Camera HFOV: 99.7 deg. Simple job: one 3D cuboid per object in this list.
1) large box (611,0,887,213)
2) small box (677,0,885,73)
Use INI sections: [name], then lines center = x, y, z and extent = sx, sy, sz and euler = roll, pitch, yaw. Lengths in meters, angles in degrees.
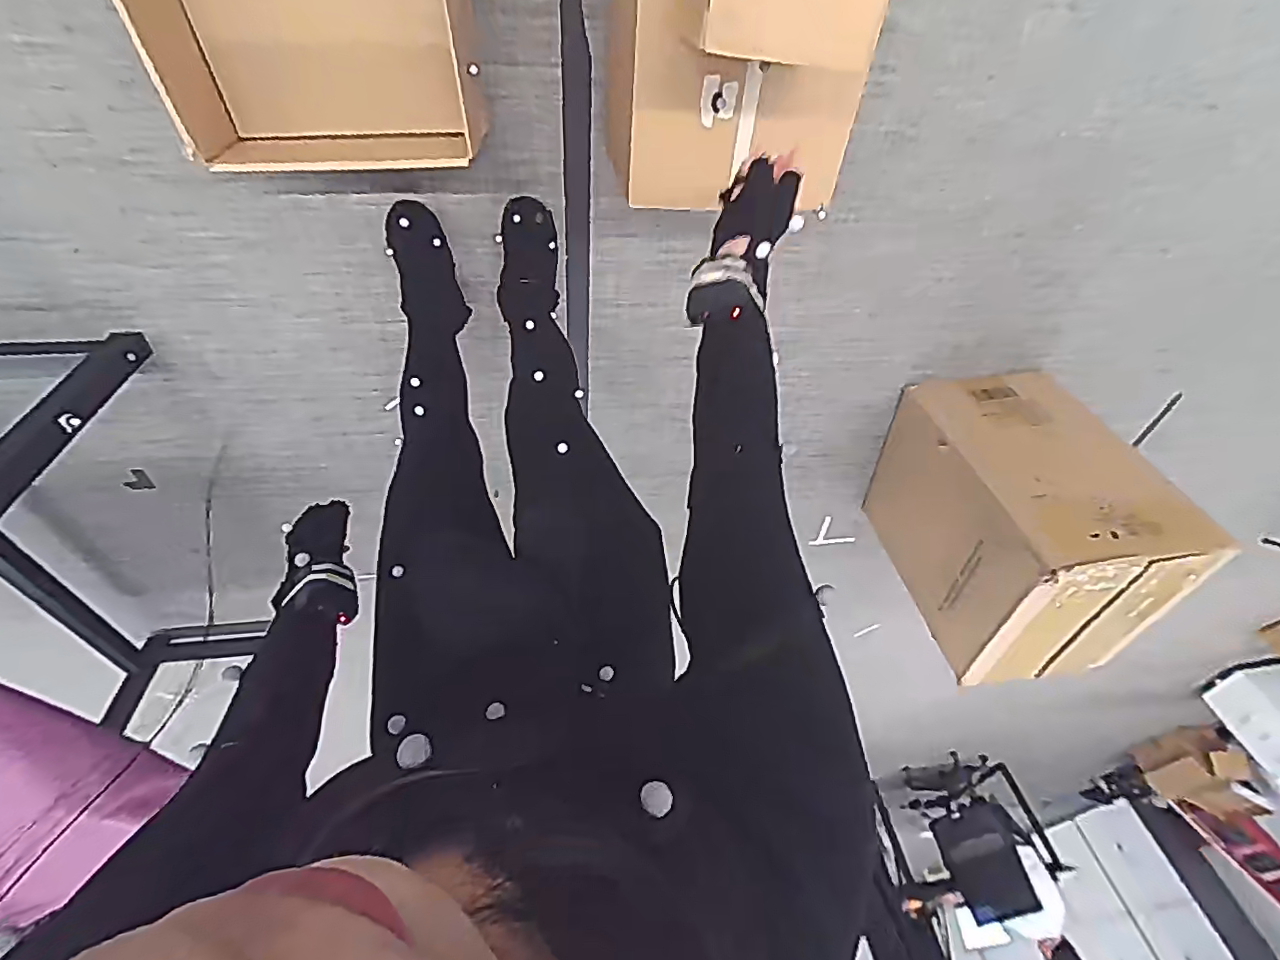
[large box]
center = 0.127, -0.647, 0.772
extent = 0.320, 0.320, 0.408
euler = -3, 135, -8
[small box]
center = 0.143, -0.533, 0.541
extent = 0.179, 0.176, 0.168
euler = -2, 136, -11
